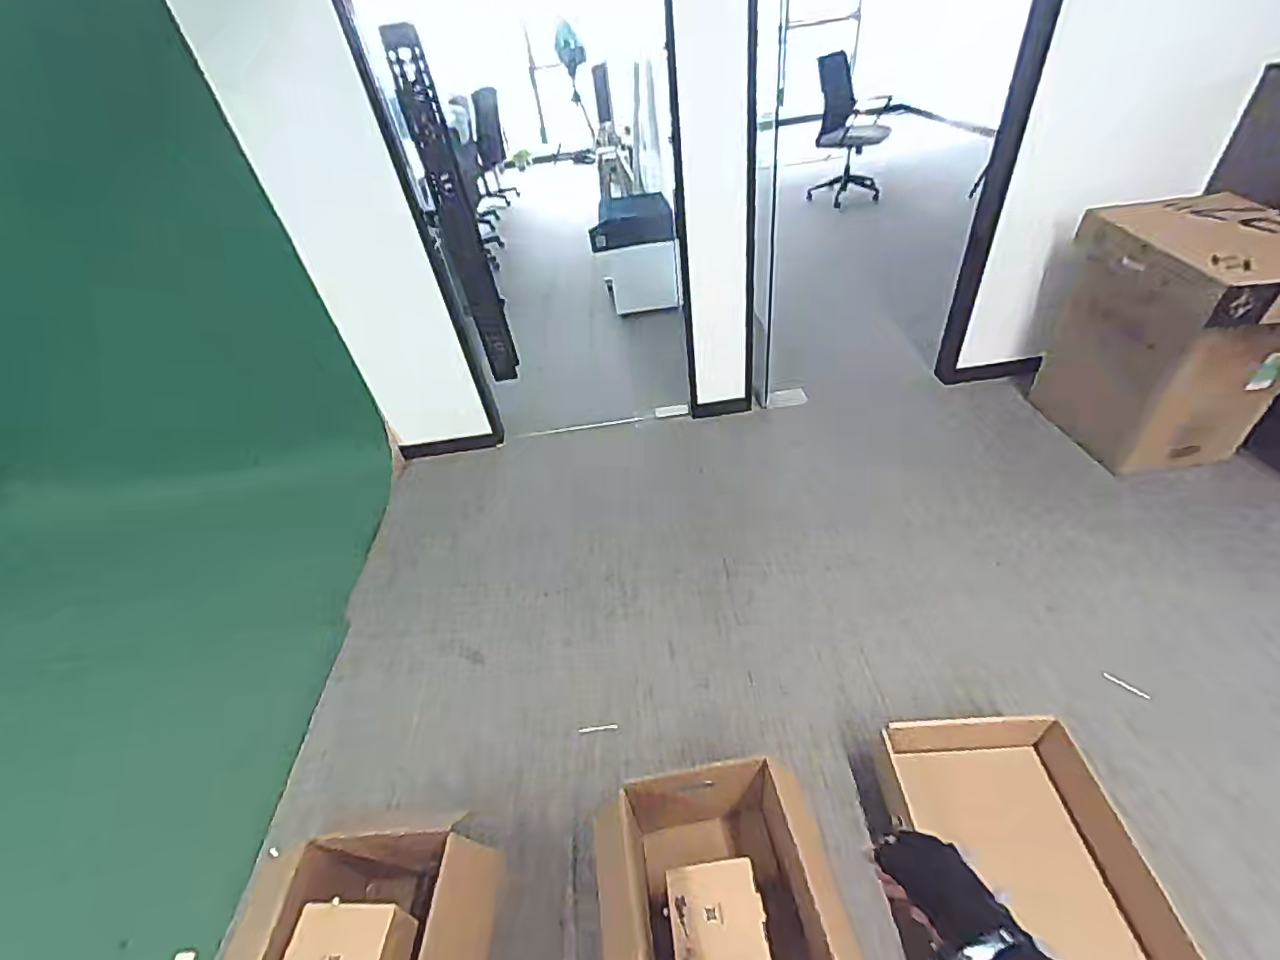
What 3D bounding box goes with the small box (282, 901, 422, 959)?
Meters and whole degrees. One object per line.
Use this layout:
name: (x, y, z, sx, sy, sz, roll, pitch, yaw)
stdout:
small box: (-0.520, 0.877, 0.969, 0.179, 0.176, 0.168, -4, 40, 4)
